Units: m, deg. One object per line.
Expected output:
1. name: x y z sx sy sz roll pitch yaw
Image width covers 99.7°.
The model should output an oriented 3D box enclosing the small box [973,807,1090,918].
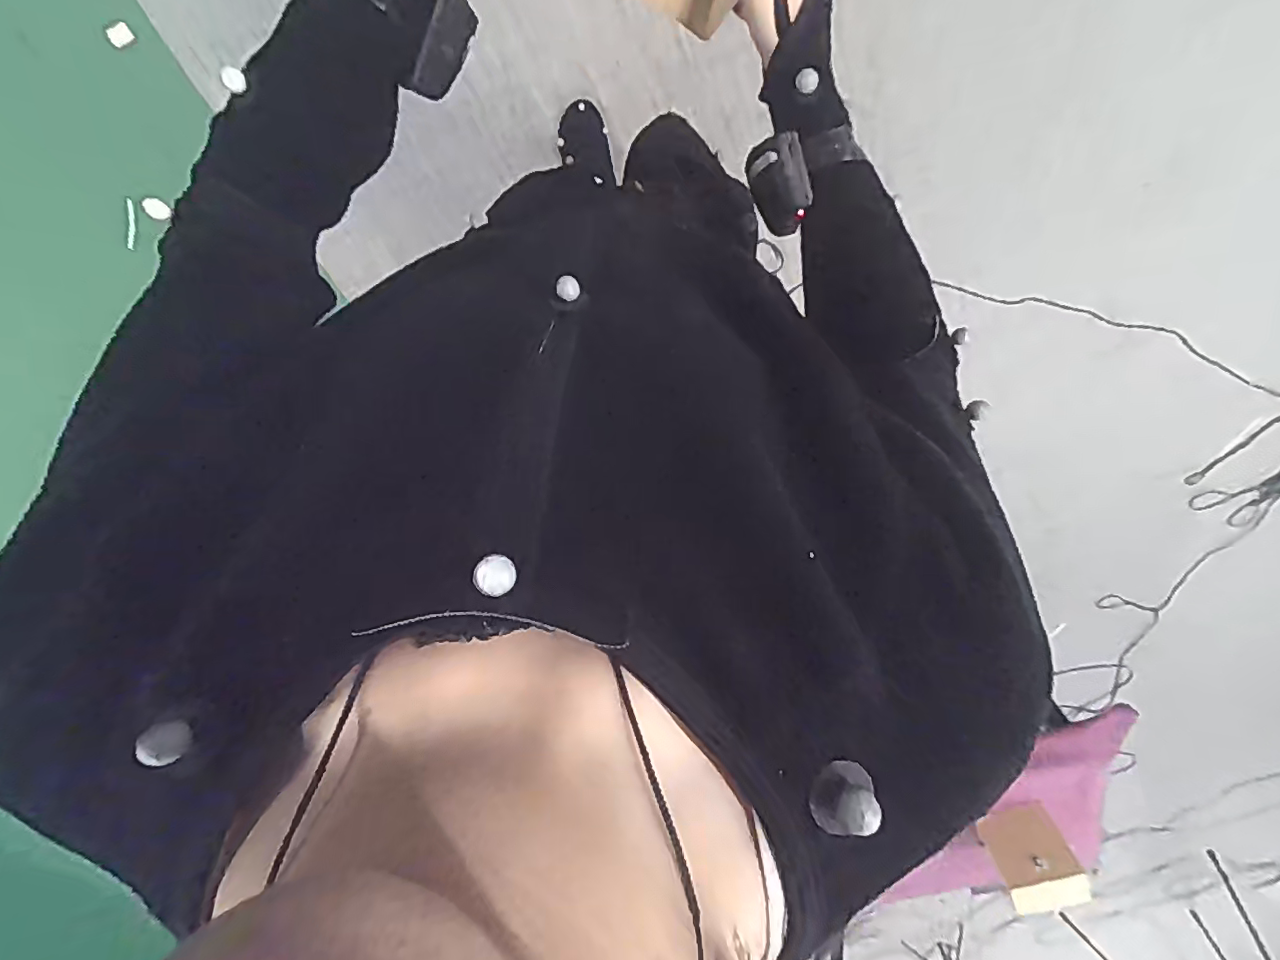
1. small box: 0.984 0.961 1.367 0.179 0.176 0.168 -24 119 13
